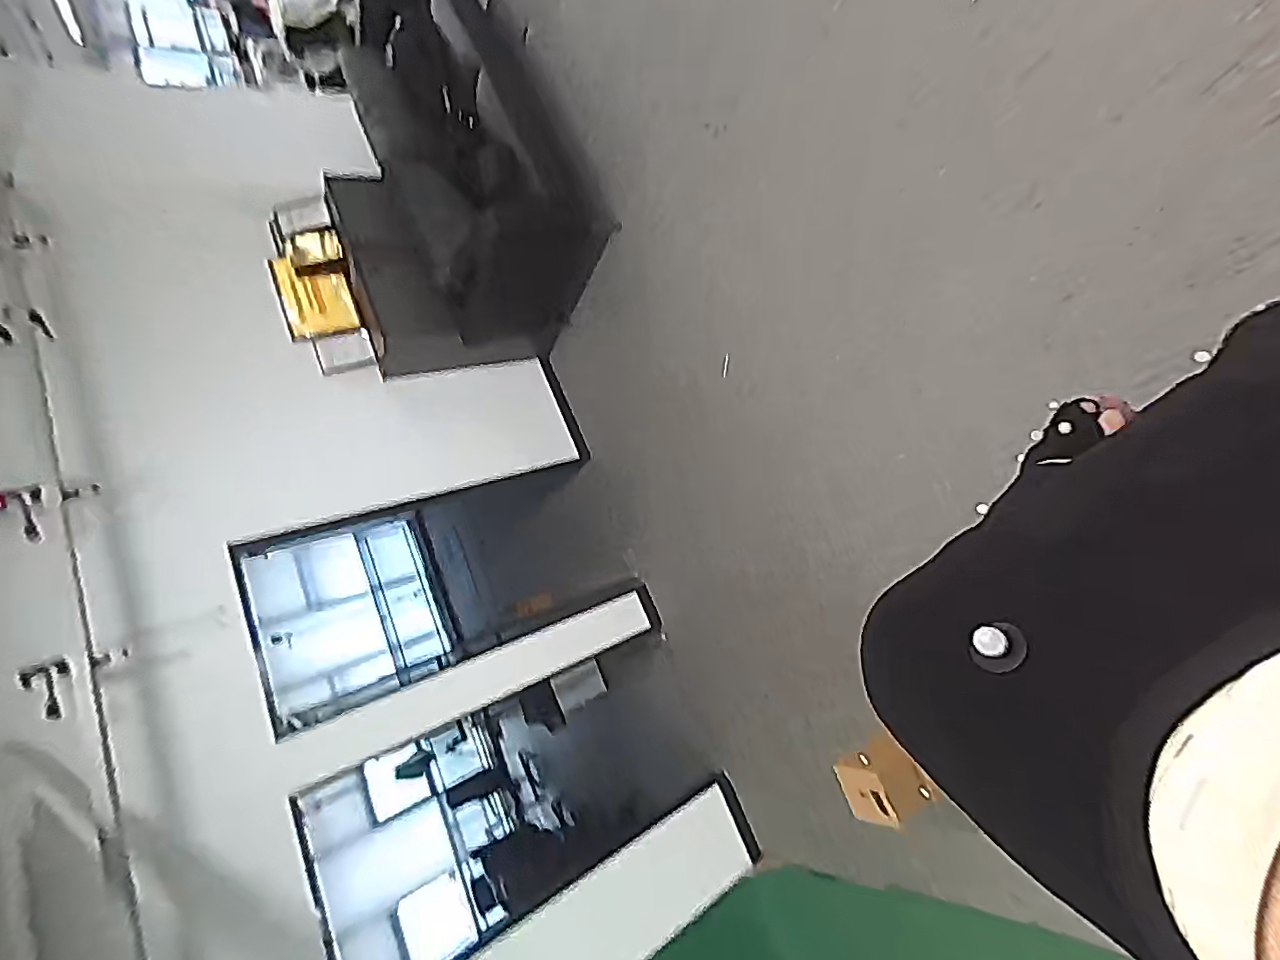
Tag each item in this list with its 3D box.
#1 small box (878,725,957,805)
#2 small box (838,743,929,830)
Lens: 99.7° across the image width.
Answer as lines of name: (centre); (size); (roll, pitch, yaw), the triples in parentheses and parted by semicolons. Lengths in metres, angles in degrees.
small box: (0.886, 0.910, 1.743); (0.179, 0.176, 0.168); (-34, 75, 55)
small box: (0.758, 0.938, 1.673); (0.179, 0.176, 0.168); (-36, 73, 56)
